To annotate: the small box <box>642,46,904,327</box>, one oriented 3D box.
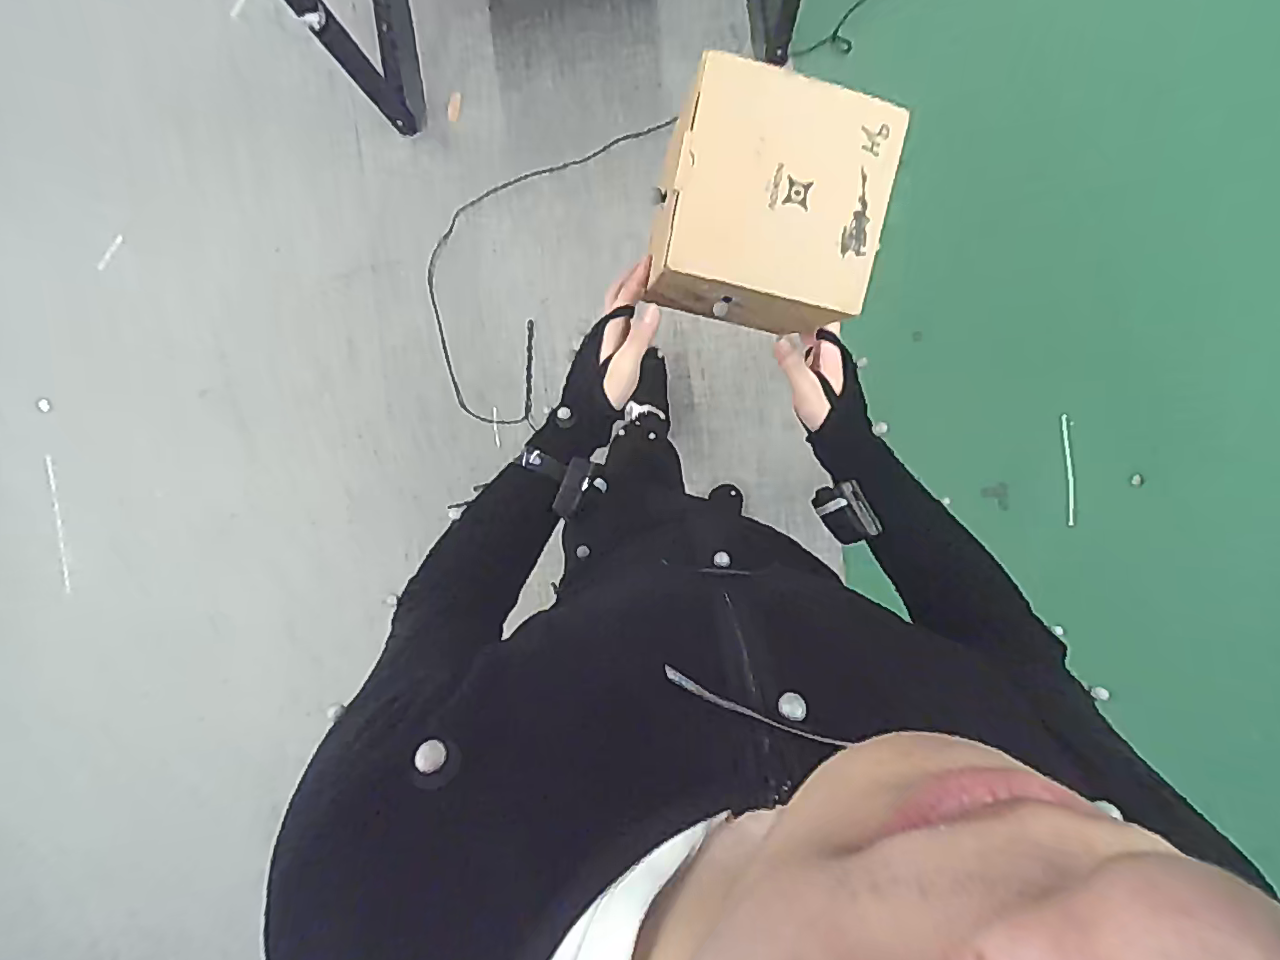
[{"bbox_3d":[0.104,-0.249,0.511,0.179,0.176,0.168,10,98,-8],"label":"small box"}]
